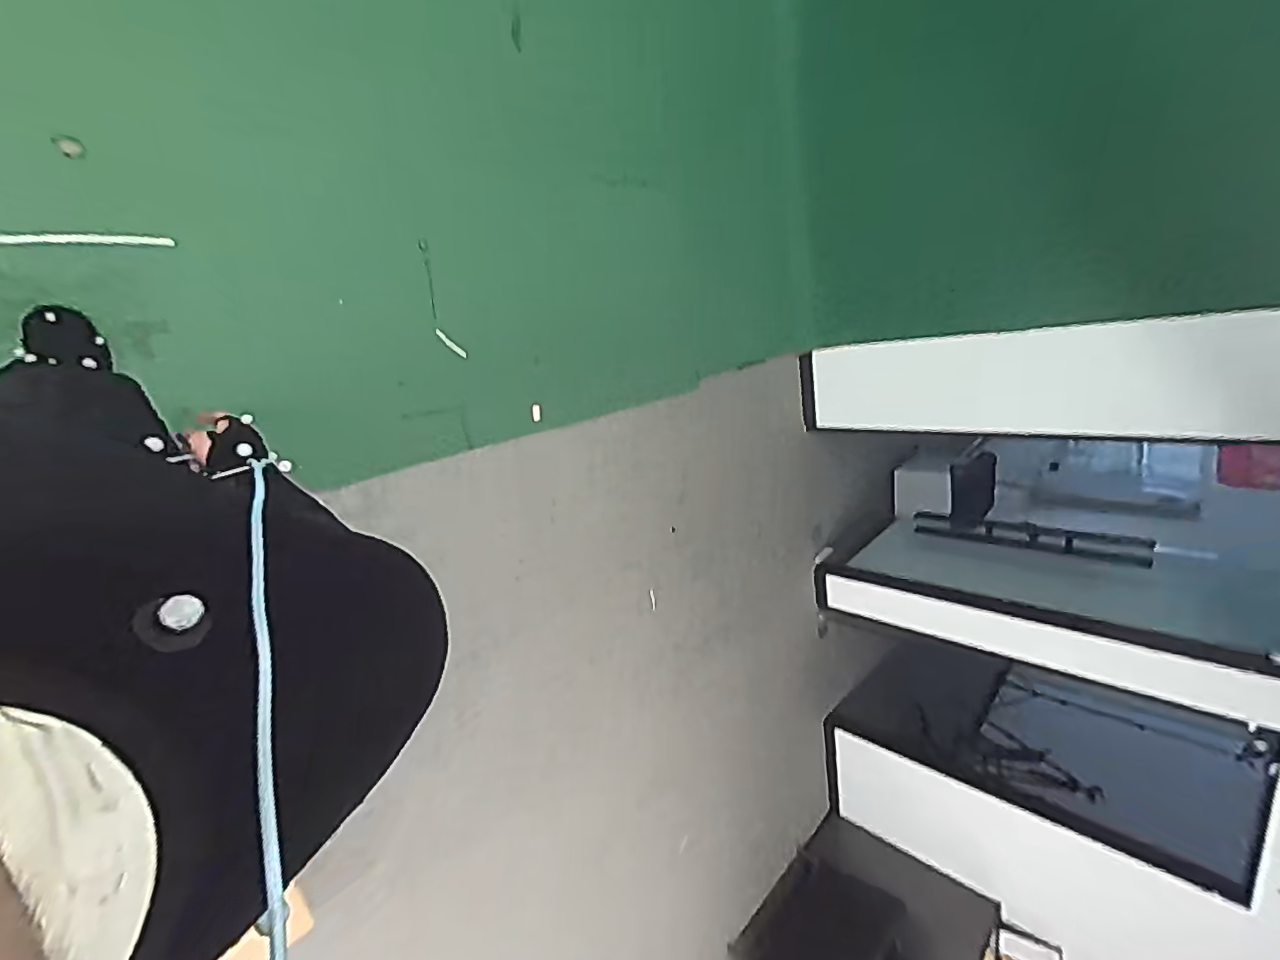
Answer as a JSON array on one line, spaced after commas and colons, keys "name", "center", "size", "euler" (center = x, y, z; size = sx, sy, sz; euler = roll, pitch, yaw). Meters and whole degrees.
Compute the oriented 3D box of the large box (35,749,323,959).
[{"name": "large box", "center": [-1.039, 0.928, 1.251], "size": [0.408, 0.320, 0.320], "euler": [-25, 113, -40]}]
